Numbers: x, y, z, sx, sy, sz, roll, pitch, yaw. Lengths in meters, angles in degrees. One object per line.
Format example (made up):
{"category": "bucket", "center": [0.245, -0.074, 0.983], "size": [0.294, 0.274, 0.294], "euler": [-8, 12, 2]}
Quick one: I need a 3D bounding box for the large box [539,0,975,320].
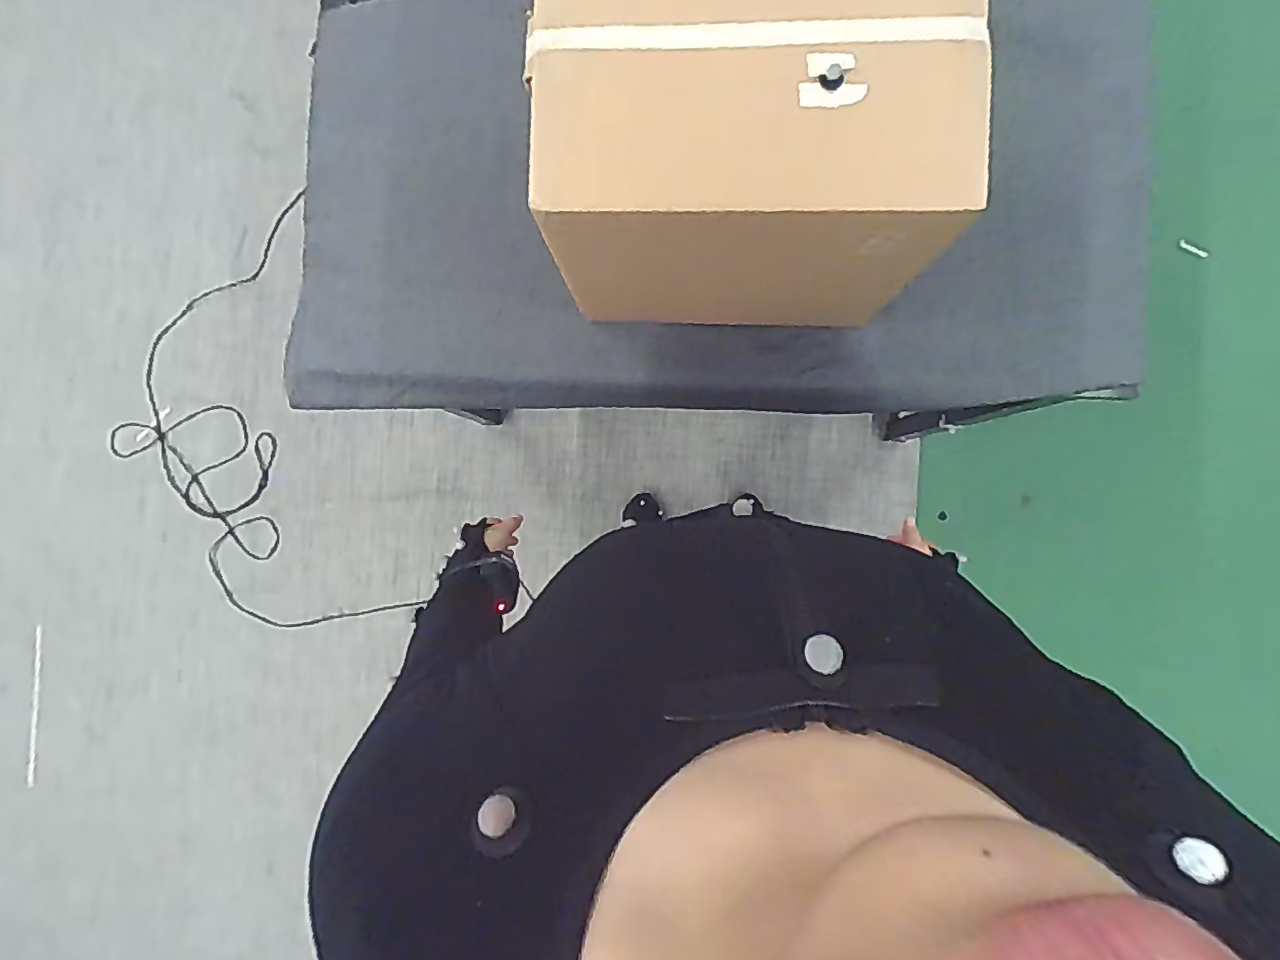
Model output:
{"category": "large box", "center": [0.111, -0.395, 0.649], "size": [0.408, 0.320, 0.320], "euler": [1, 88, 3]}
